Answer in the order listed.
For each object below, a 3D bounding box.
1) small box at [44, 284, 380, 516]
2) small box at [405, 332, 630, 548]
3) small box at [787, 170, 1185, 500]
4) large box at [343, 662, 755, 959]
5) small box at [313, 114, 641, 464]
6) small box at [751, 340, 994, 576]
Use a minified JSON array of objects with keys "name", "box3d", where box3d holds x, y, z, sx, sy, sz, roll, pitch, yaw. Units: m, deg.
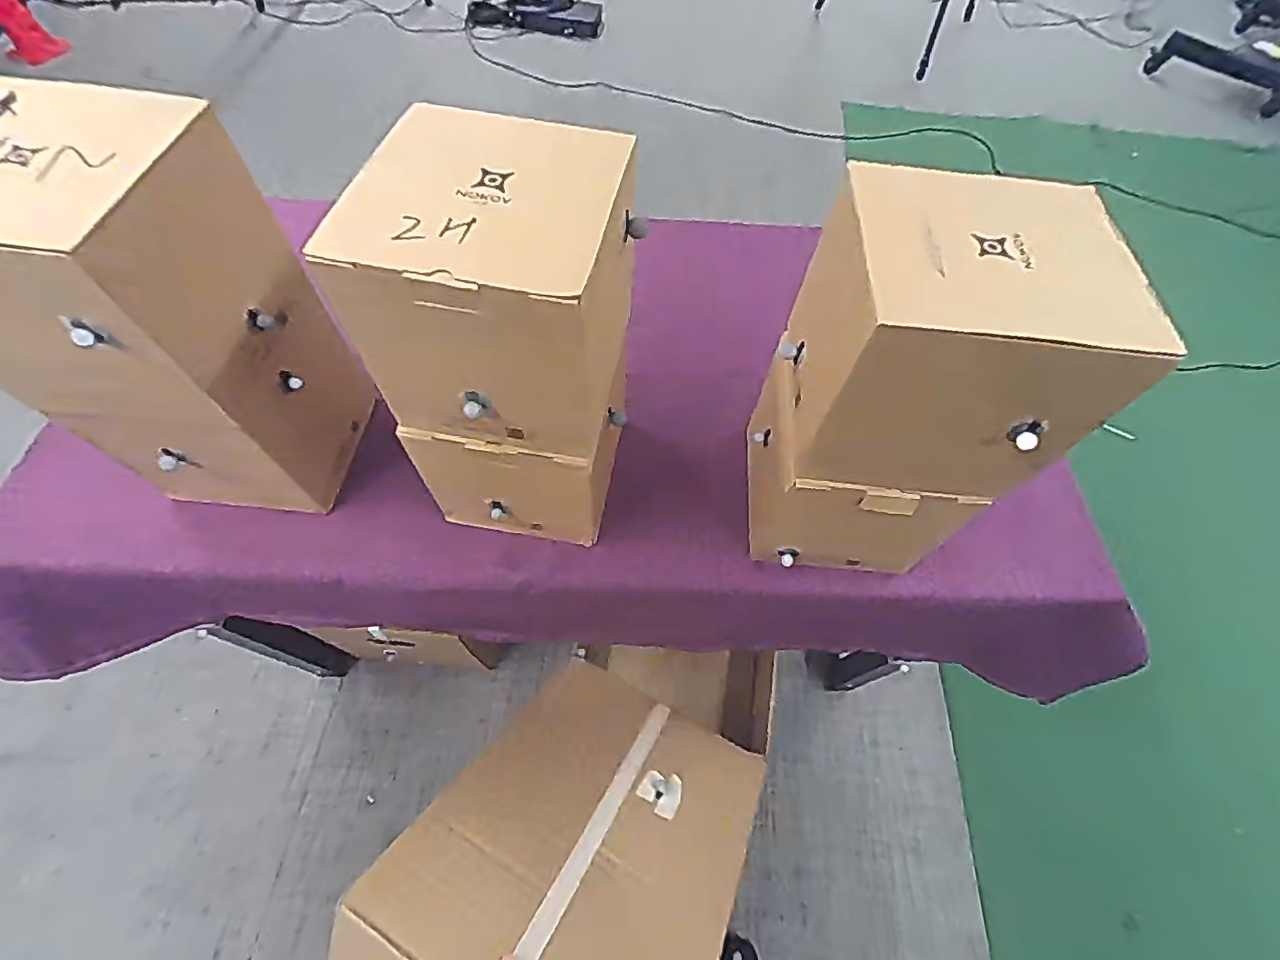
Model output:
[{"name":"small box","box3d":[-0.405,-0.074,0.554,0.179,0.176,0.168,5,61,1]},{"name":"small box","box3d":[-0.108,-0.051,0.557,0.168,0.176,0.179,9,61,3]},{"name":"small box","box3d":[0.222,-0.098,0.409,0.179,0.176,0.168,6,59,1]},{"name":"large box","box3d":[-0.086,0.510,0.648,0.320,0.320,0.408,24,21,15]},{"name":"small box","box3d":[-0.099,-0.139,0.418,0.168,0.176,0.179,10,61,4]},{"name":"small box","box3d":[0.211,-0.015,0.549,0.168,0.176,0.179,5,59,1]}]
